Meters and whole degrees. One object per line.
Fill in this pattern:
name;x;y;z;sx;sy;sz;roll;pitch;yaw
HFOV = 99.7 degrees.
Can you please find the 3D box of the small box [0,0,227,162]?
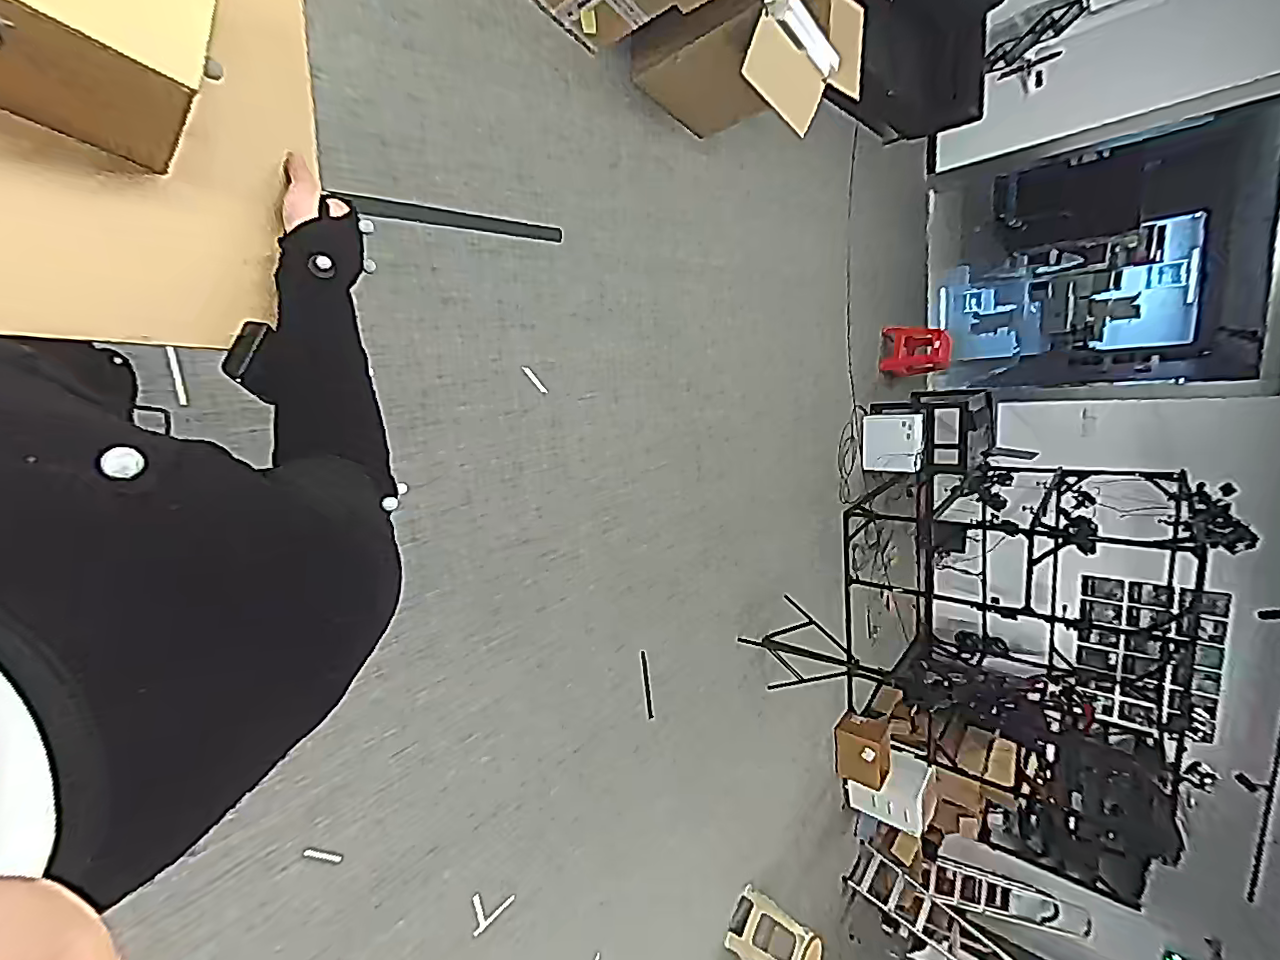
small box;-0.407;-0.355;0.372;0.179;0.176;0.168;10;86;-46
